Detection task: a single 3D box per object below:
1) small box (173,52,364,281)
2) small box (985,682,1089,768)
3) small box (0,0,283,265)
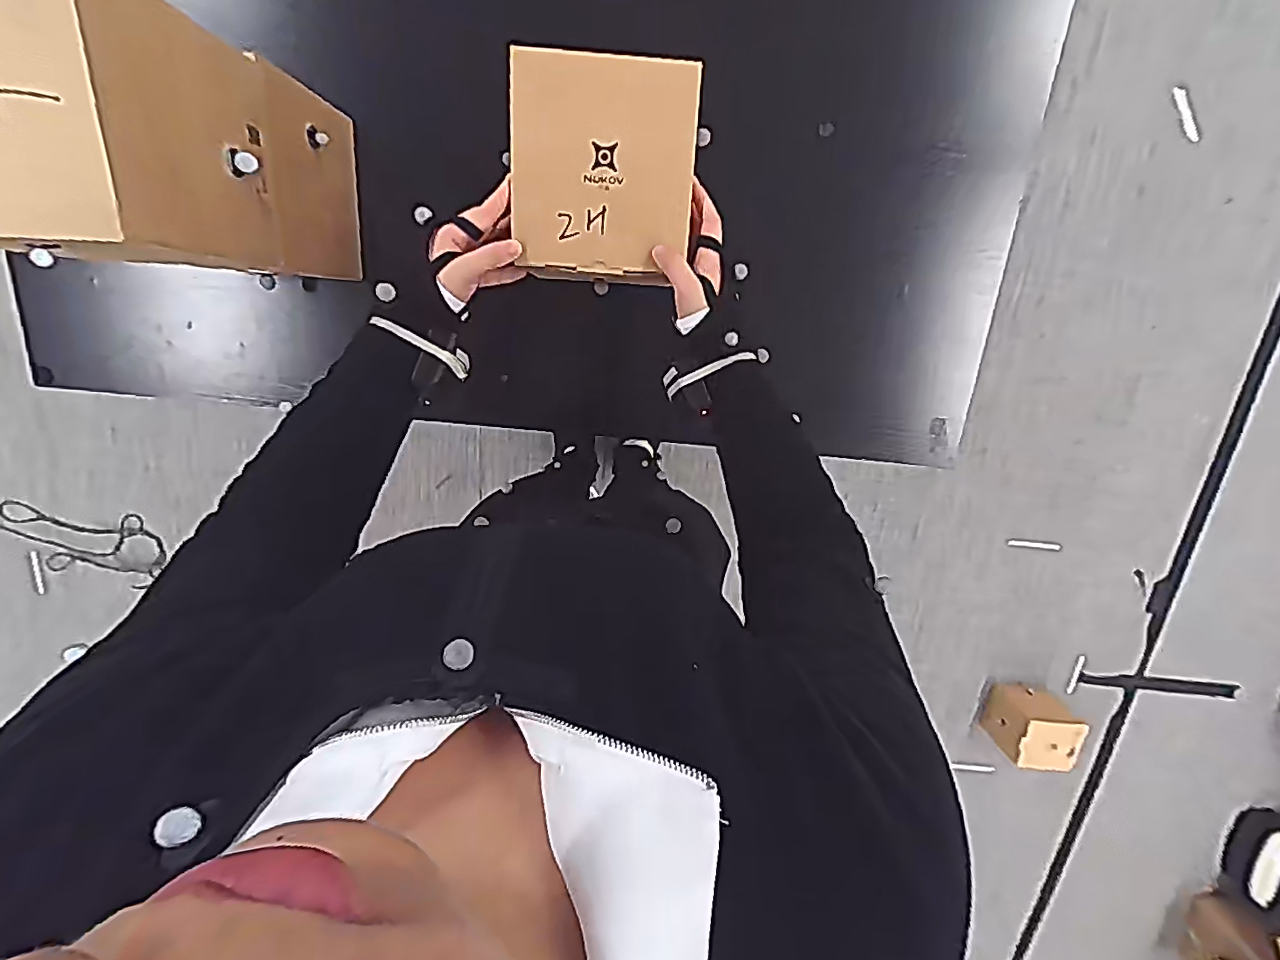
[{"bbox_3d":[-0.412,-0.311,0.563,0.168,0.176,0.179,4,107,0],"label":"small box"},{"bbox_3d":[1.192,0.736,1.640,0.179,0.176,0.168,6,107,-1],"label":"small box"},{"bbox_3d":[-0.415,-0.259,0.406,0.179,0.176,0.168,2,106,-1],"label":"small box"}]
